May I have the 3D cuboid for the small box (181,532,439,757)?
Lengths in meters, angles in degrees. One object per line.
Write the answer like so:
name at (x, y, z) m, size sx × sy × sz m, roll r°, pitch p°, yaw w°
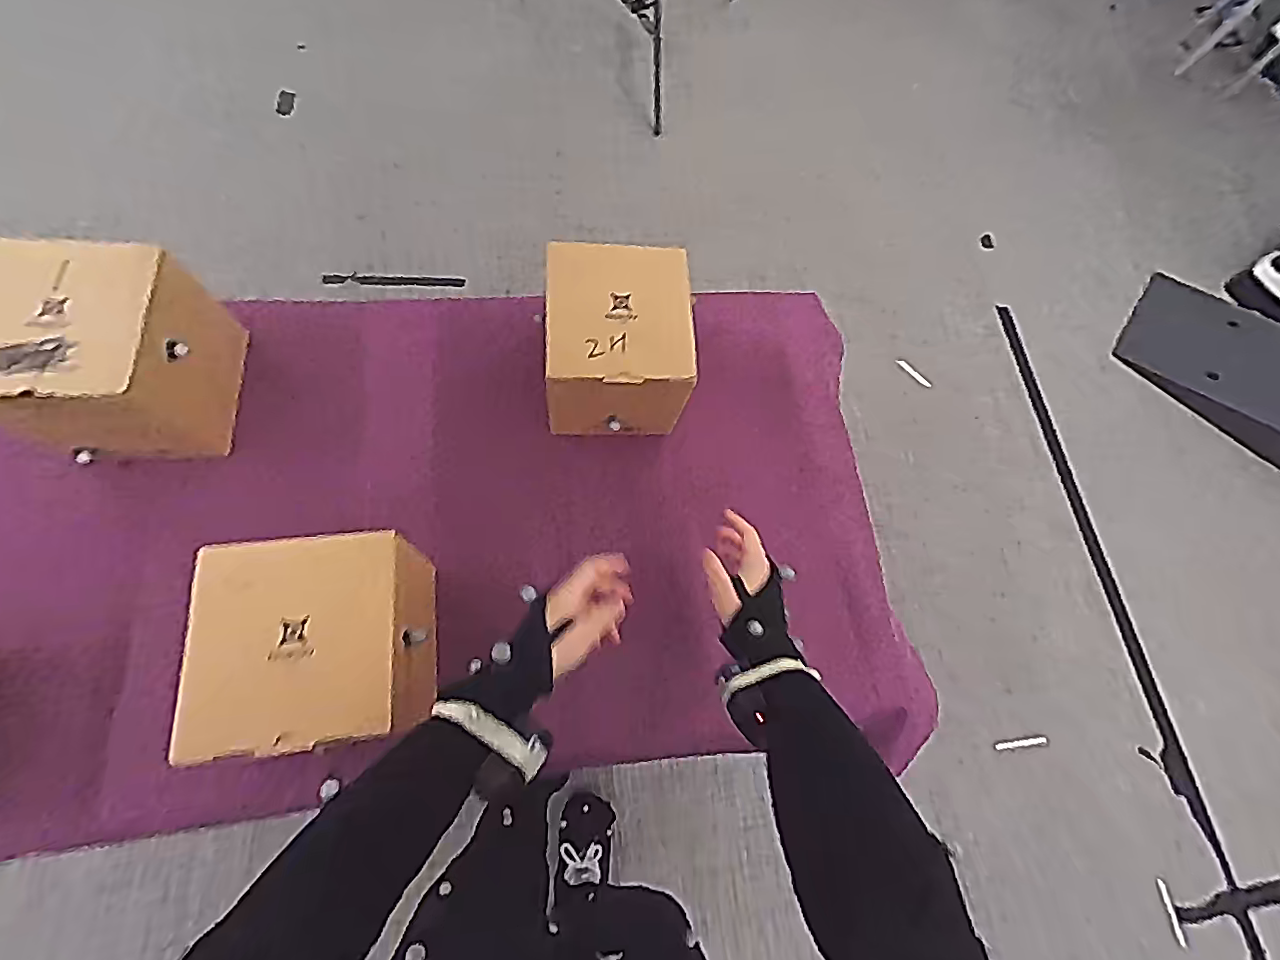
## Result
small box at (-0.306, 0.162, 0.544) m, size 0.168 × 0.176 × 0.179 m, roll -5°, pitch 71°, yaw -10°

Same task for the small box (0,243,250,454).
small box at (-0.574, -0.133, 0.603) m, size 0.168 × 0.176 × 0.179 m, roll -1°, pitch 72°, yaw -9°

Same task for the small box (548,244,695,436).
small box at (-0.032, -0.168, 0.690) m, size 0.168 × 0.176 × 0.179 m, roll -1°, pitch 74°, yaw -7°
